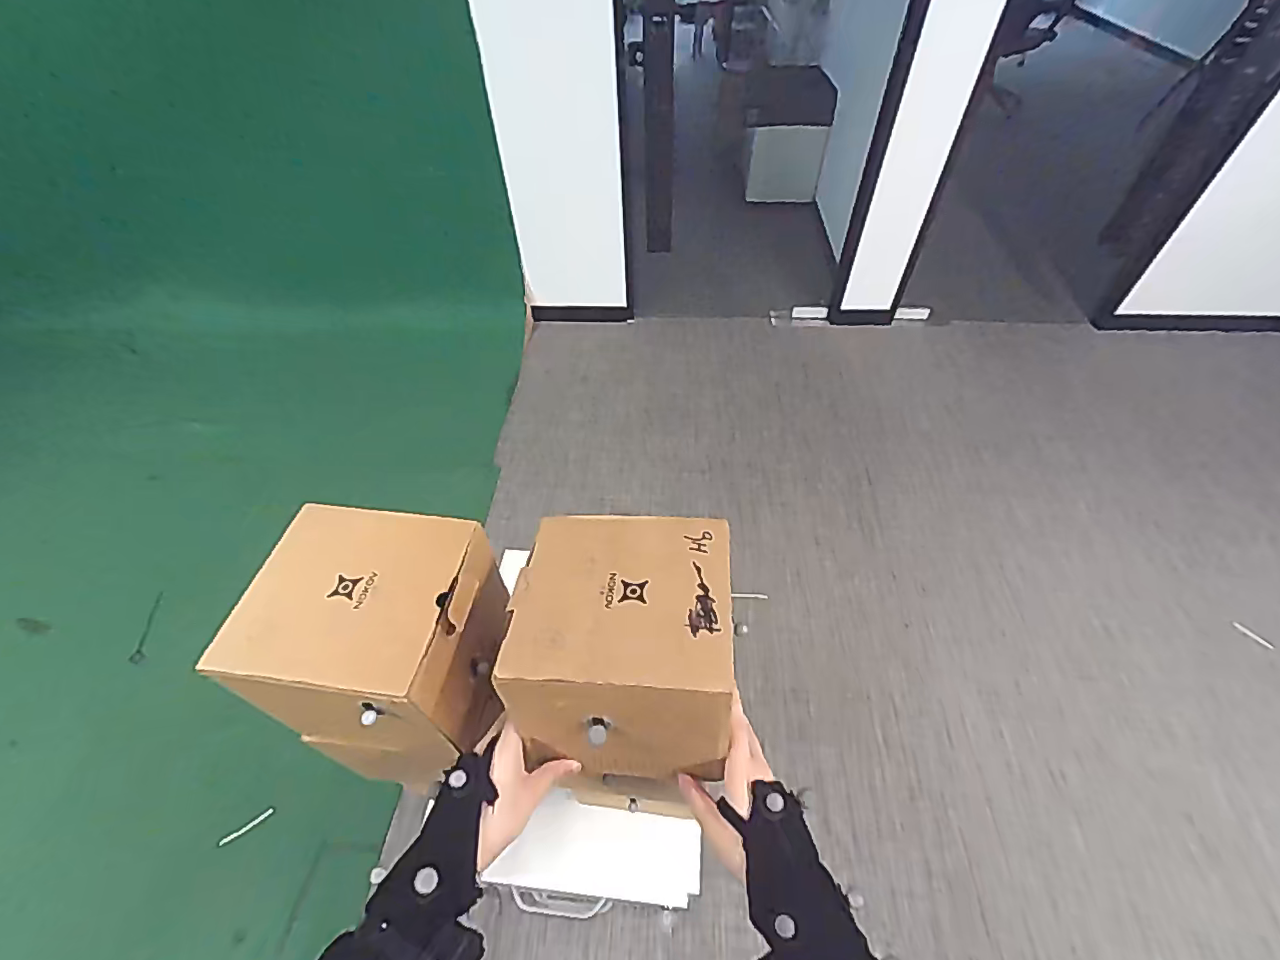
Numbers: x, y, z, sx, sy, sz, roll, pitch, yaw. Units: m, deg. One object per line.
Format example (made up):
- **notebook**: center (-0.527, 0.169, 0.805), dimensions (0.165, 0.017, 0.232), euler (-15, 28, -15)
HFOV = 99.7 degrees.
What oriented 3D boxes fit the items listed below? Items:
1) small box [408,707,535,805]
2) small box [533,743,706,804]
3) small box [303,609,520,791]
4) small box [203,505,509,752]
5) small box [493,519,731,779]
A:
- **small box**: center (-0.239, 0.349, 0.775), dimensions (0.168, 0.176, 0.179), euler (6, 50, 3)
- **small box**: center (-0.006, 0.261, 0.629), dimensions (0.179, 0.176, 0.168), euler (5, 50, 6)
- **small box**: center (-0.241, 0.256, 0.641), dimensions (0.179, 0.176, 0.168), euler (3, 49, 4)
- **small box**: center (-0.244, 0.146, 0.521), dimensions (0.179, 0.176, 0.168), euler (6, 49, 4)
- **small box**: center (-0.008, 0.152, 0.493), dimensions (0.179, 0.176, 0.168), euler (1, 43, 7)
